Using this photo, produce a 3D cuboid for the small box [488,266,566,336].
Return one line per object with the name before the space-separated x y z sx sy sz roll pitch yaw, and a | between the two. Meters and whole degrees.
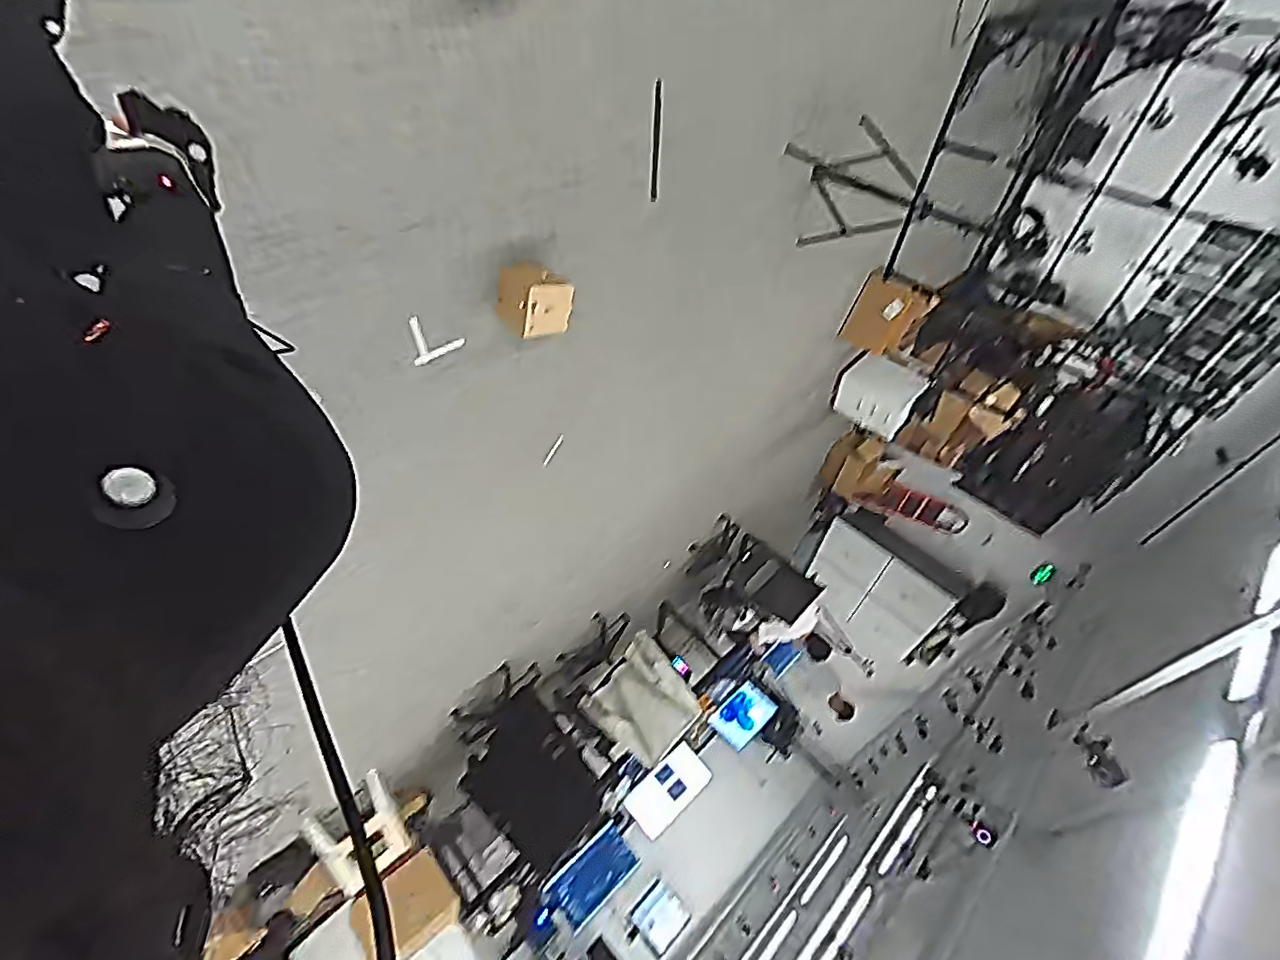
small box | -0.374 -0.593 1.775 0.179 0.176 0.168 -23 141 -43
